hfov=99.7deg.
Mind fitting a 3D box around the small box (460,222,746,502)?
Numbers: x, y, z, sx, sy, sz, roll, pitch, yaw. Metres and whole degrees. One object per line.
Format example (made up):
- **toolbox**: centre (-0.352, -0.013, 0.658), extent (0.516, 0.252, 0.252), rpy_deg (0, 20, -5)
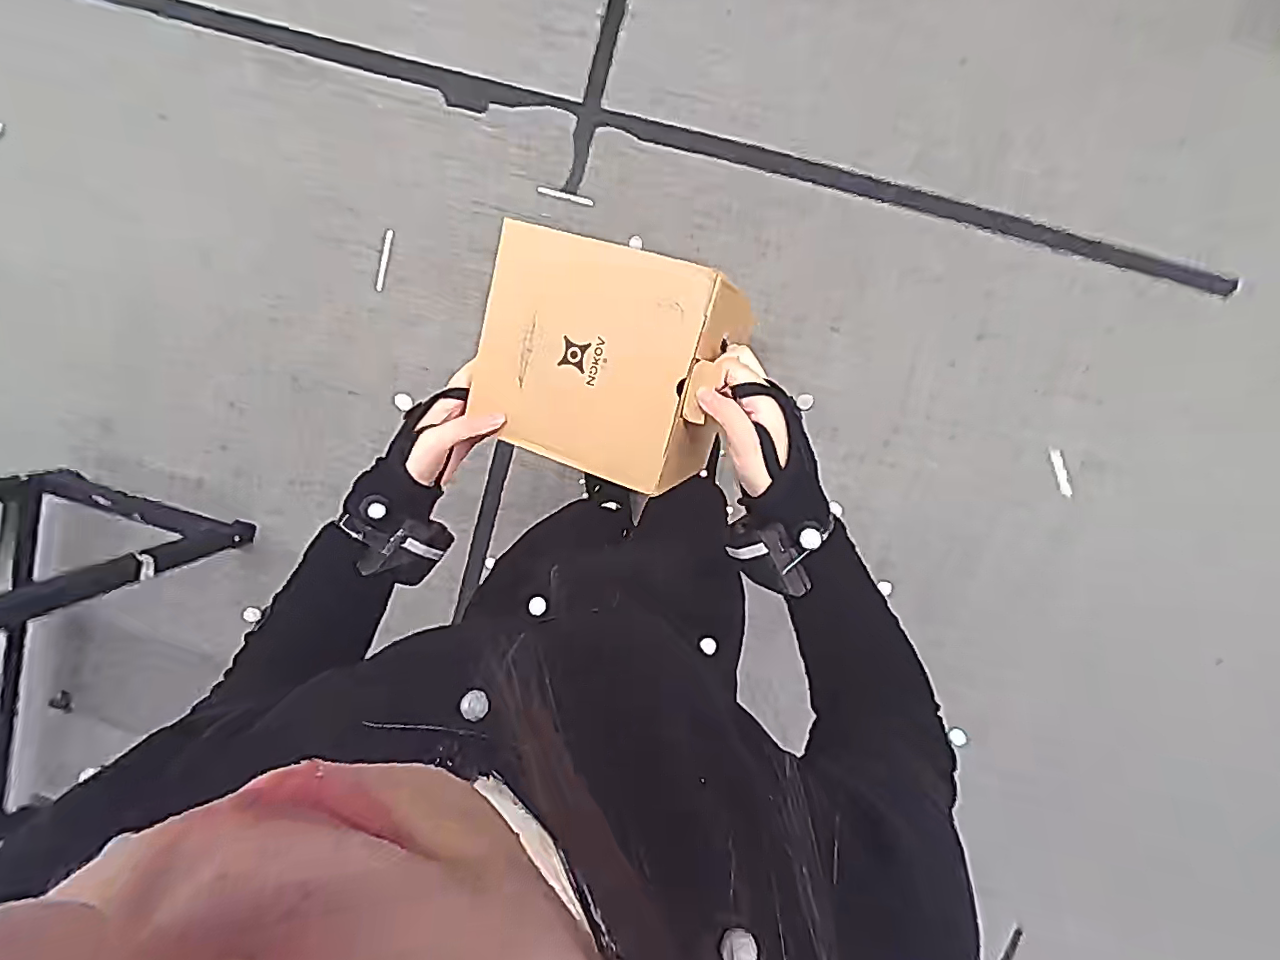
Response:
- **small box**: centre (-0.020, -0.098, 0.467), extent (0.179, 0.176, 0.168), rpy_deg (20, 105, 15)
